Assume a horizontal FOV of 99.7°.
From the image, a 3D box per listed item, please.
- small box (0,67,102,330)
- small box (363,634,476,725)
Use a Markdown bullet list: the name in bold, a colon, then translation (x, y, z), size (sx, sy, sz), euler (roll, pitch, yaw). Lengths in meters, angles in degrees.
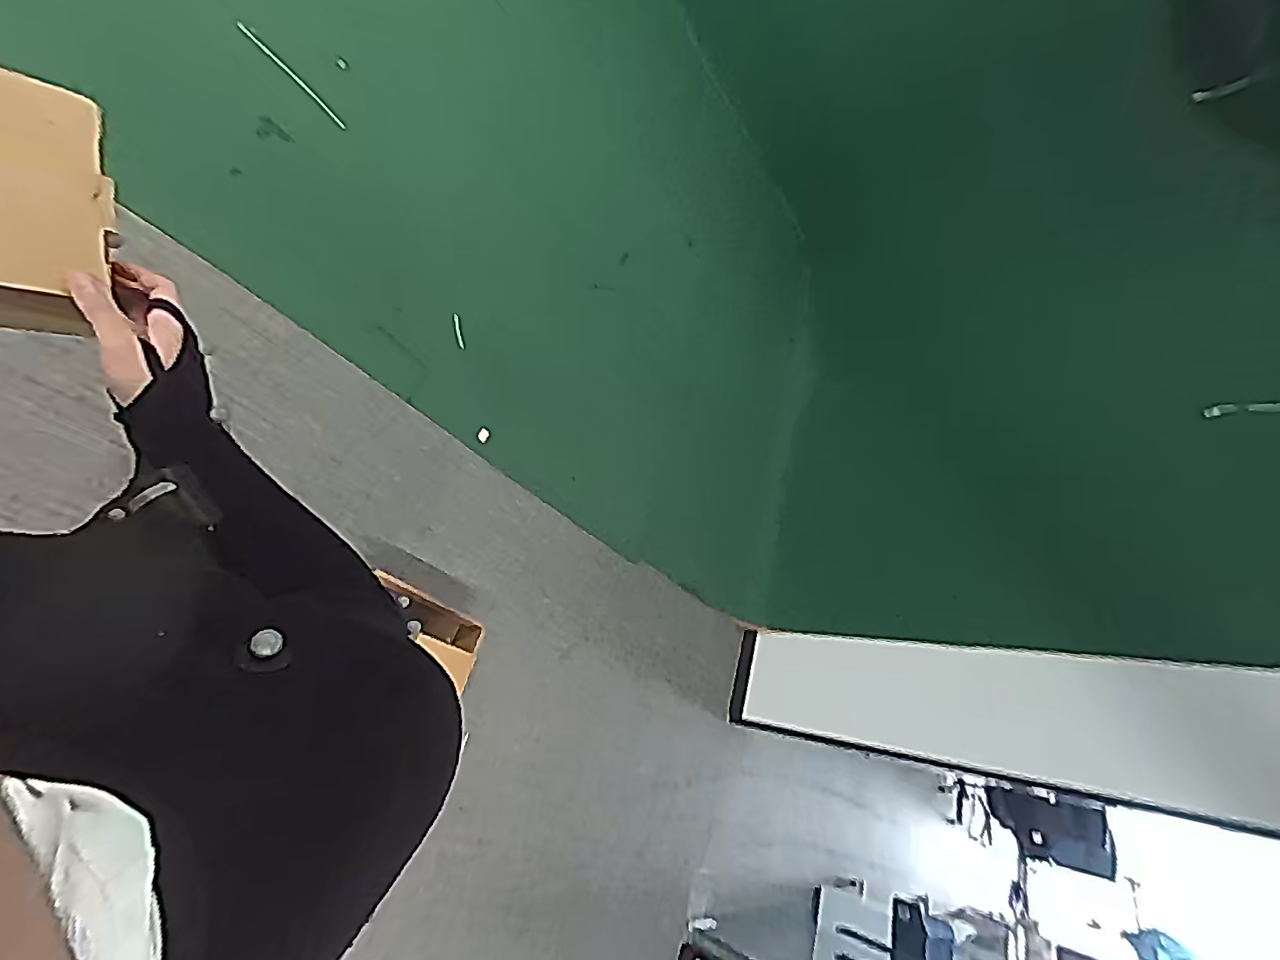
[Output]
- **small box**: translation (-0.562, -0.225, 0.427), size (0.179, 0.176, 0.168), euler (-4, 91, -50)
- **small box**: translation (-0.557, 0.495, 1.360), size (0.179, 0.176, 0.168), euler (40, 58, -36)
